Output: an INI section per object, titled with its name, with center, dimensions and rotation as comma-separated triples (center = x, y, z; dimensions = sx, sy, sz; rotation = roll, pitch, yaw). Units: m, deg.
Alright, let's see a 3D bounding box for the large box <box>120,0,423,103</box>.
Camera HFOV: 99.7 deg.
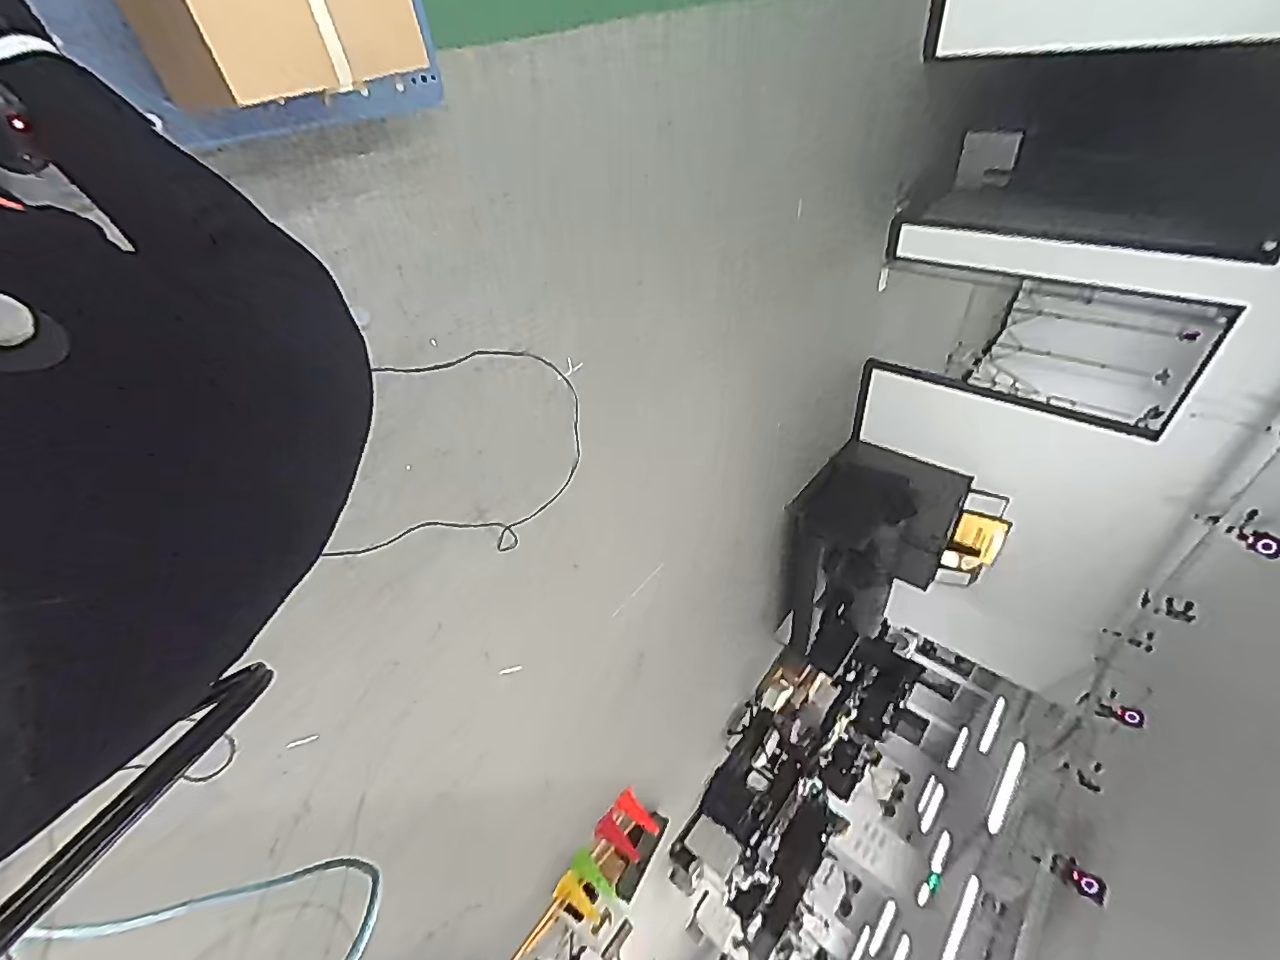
[large box]
center = -0.592, -0.808, 0.765
dimensions = 0.320, 0.320, 0.408
rotation = -42, 140, -31
